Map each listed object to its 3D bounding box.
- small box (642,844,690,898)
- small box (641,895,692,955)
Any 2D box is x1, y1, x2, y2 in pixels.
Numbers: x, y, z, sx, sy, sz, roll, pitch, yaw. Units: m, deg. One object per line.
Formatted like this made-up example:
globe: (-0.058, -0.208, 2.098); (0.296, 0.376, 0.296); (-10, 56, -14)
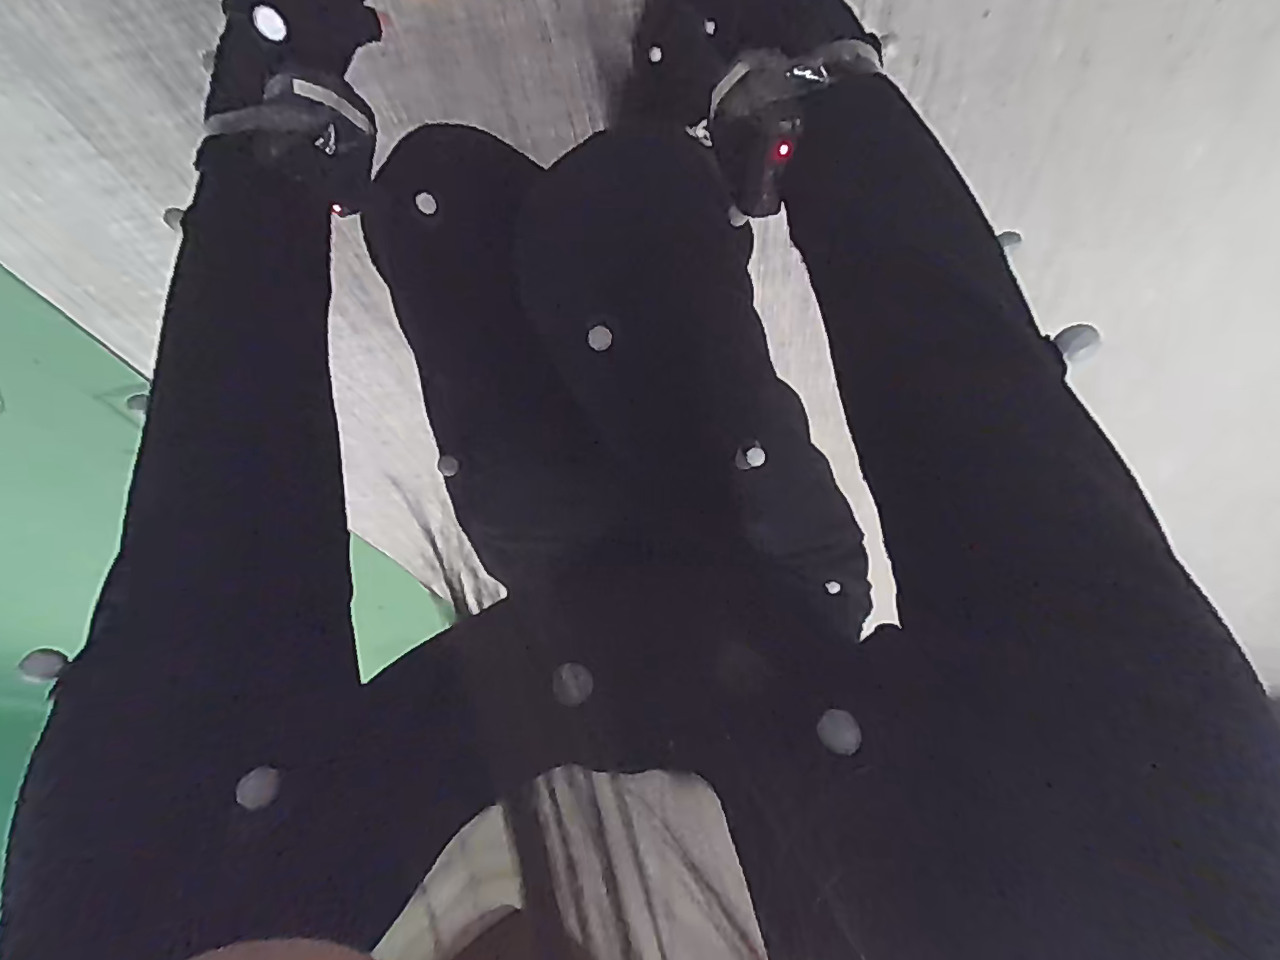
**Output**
small box: (0.106, 1.583, 2.195); (0.179, 0.176, 0.168); (-7, 148, 9)
small box: (0.107, 1.724, 2.111); (0.179, 0.176, 0.168); (-5, 148, 11)
